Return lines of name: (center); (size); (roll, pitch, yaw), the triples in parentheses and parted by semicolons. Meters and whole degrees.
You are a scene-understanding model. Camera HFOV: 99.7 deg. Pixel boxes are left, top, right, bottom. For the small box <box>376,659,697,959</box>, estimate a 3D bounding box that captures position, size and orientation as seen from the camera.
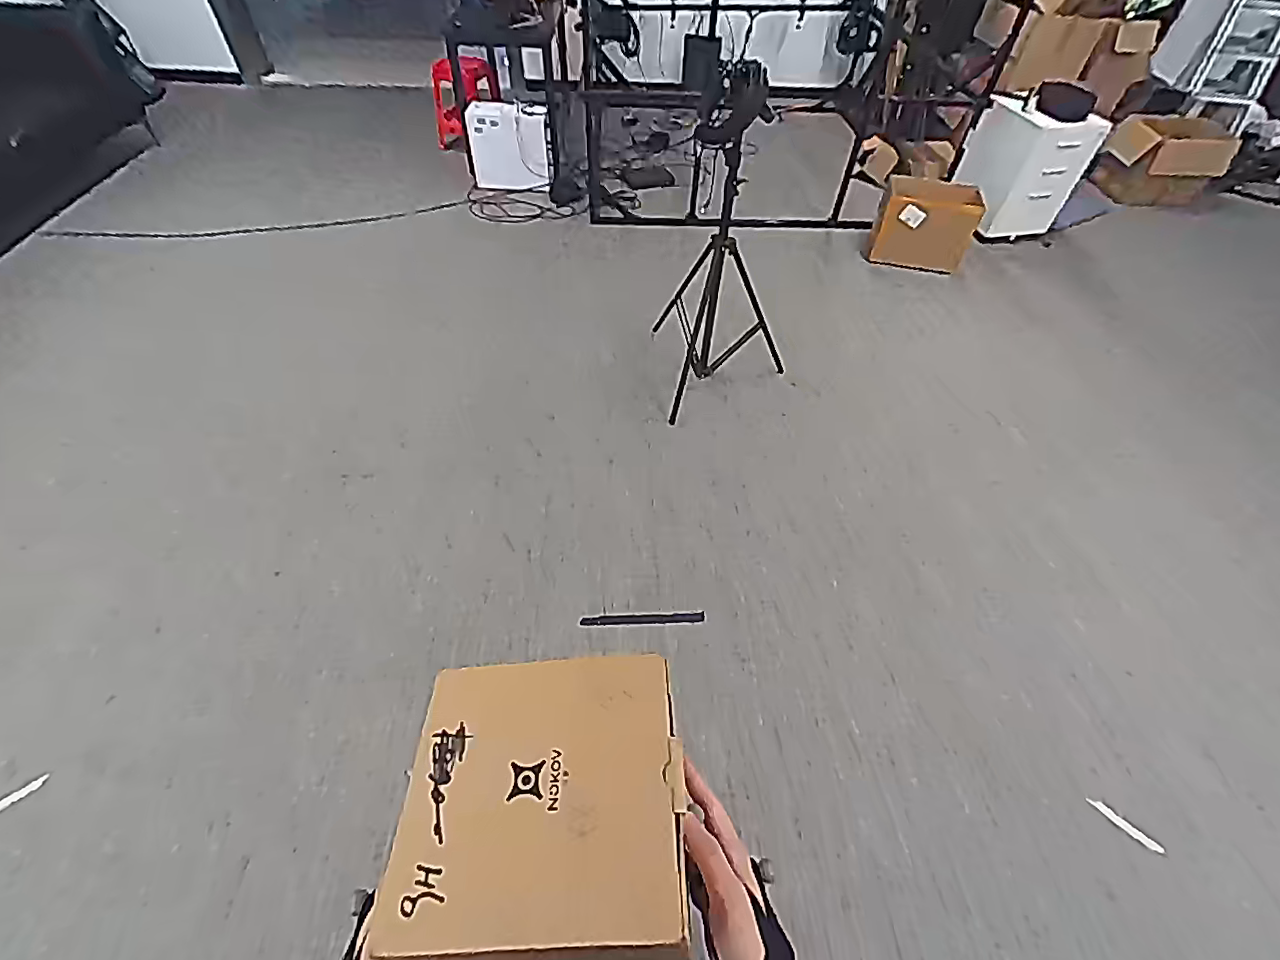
small box: (-0.053, 0.251, 0.400); (0.179, 0.176, 0.168); (-4, 43, 2)
